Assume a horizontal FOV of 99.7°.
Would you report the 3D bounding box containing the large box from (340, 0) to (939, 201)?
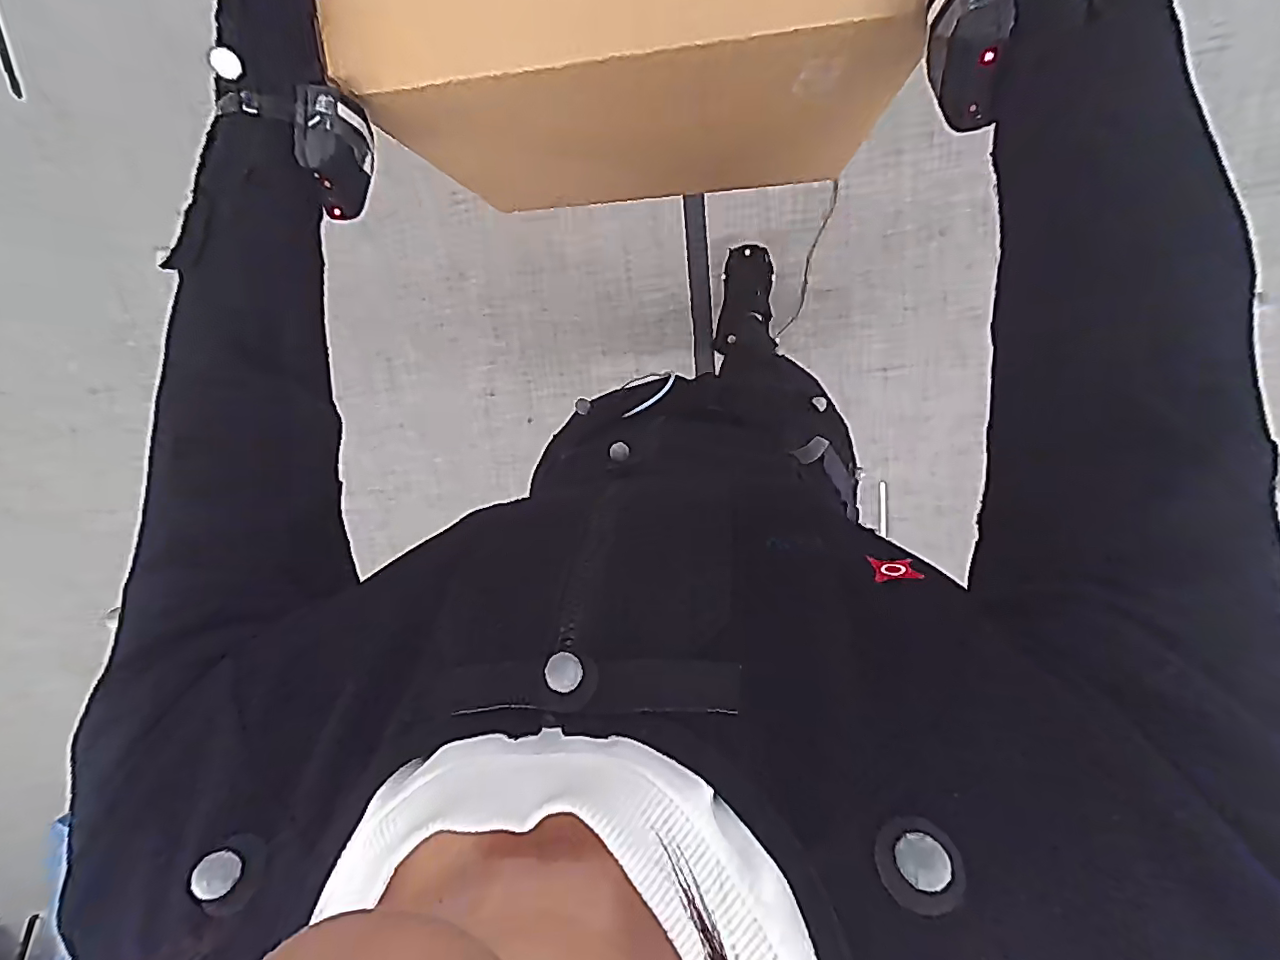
[{"bbox_3d":[0.001,-0.467,0.463,0.408,0.320,0.320,-3,103,7],"label":"large box"}]
